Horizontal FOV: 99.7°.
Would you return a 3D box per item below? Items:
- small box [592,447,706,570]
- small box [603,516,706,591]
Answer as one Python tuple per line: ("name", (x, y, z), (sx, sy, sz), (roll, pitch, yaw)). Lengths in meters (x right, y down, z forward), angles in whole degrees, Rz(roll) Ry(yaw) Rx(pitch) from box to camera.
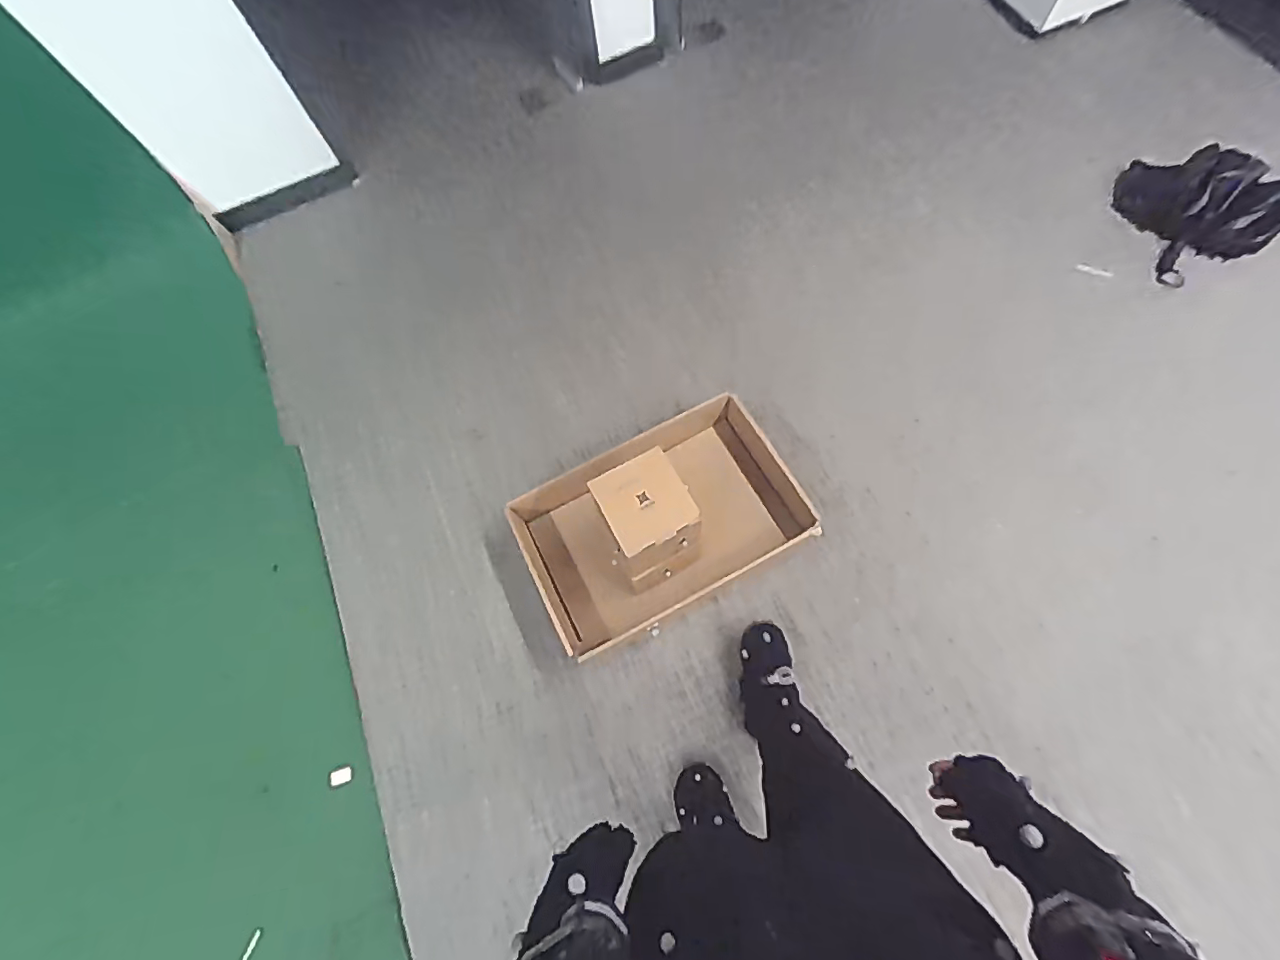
("small box", (0.022, 0.069, 1.109), (0.168, 0.176, 0.179), (-27, 67, -7))
("small box", (0.036, 0.137, 1.254), (0.179, 0.176, 0.168), (-29, 68, -5))
